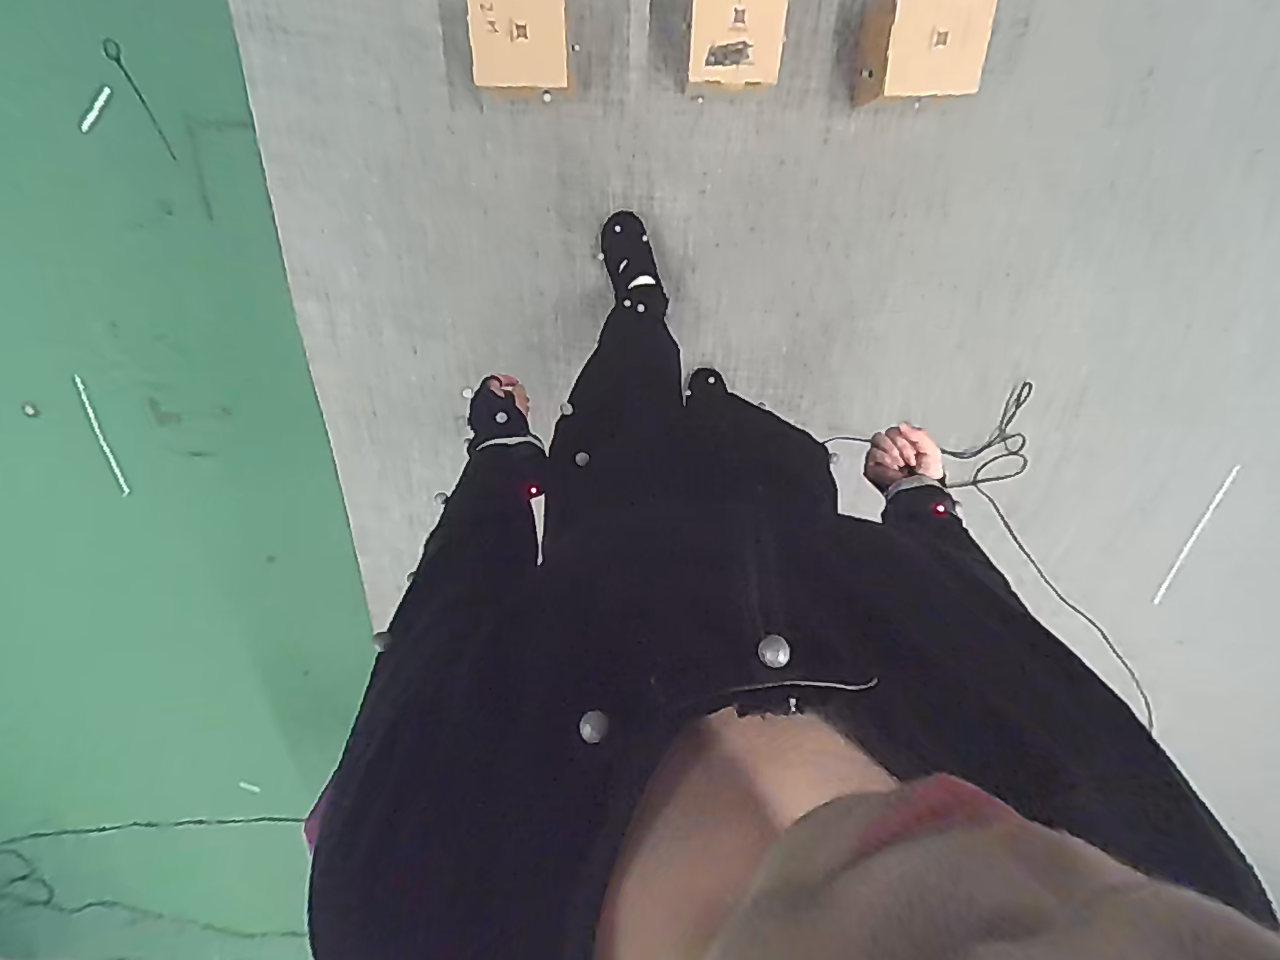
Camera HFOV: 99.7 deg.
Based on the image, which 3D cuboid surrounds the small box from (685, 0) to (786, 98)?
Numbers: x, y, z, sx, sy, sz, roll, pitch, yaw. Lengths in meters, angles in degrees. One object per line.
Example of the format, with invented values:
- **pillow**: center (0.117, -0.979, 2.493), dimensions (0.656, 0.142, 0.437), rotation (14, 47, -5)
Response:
- **small box**: center (0.175, -0.842, 1.022), dimensions (0.168, 0.176, 0.179), rotation (3, 117, 1)

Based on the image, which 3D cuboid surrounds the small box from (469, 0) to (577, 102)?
- **small box**: center (-0.214, -0.840, 1.037), dimensions (0.179, 0.176, 0.168), rotation (2, 117, 1)

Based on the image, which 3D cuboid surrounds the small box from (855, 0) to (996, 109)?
- **small box**: center (0.528, -0.813, 1.025), dimensions (0.179, 0.176, 0.168), rotation (0, 118, 1)
